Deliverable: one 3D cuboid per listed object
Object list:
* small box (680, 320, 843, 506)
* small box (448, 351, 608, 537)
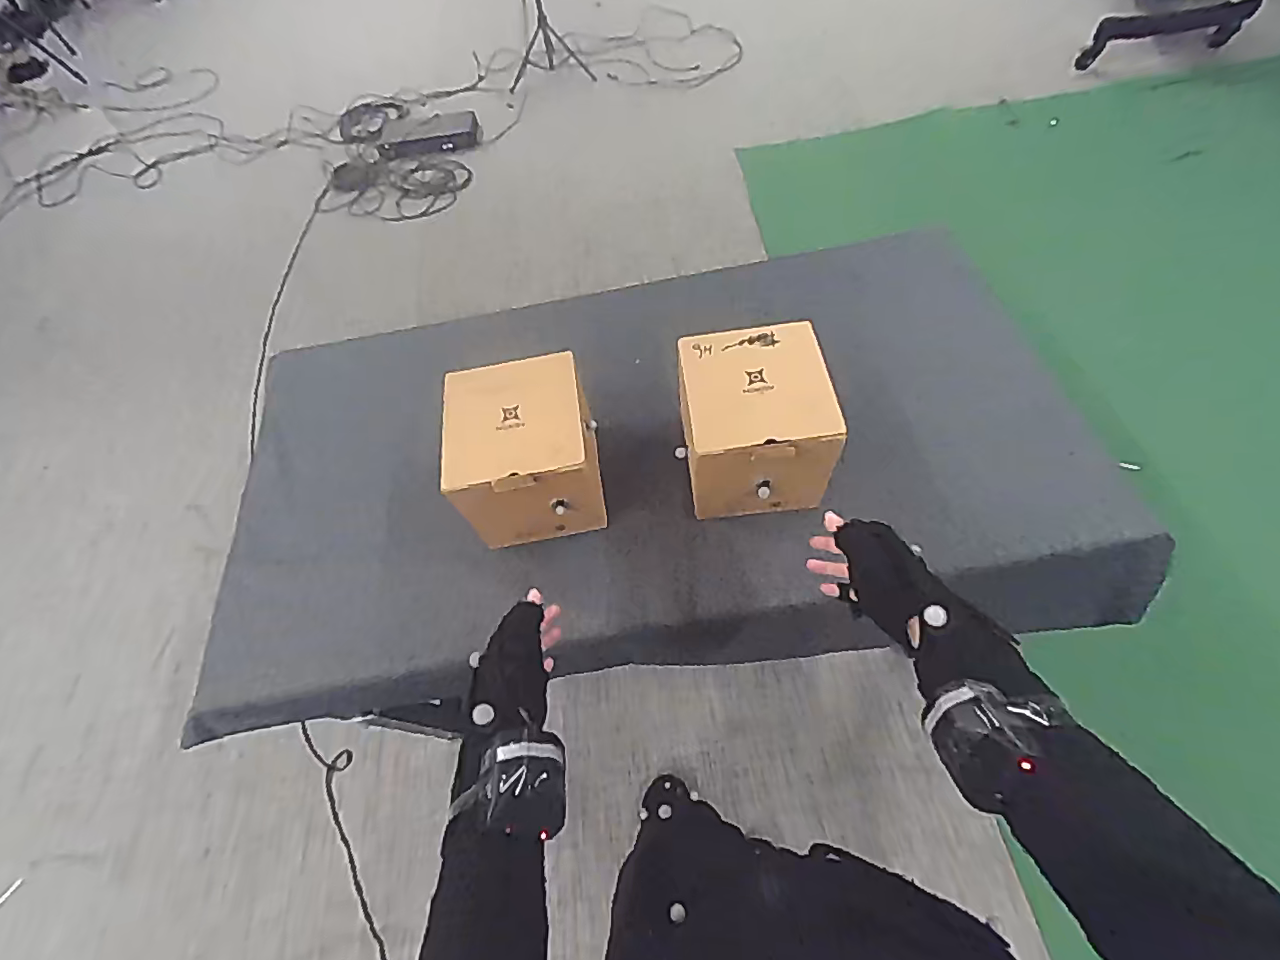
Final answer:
[{"bbox_3d":[0.144,-0.076,0.701,0.168,0.176,0.179,-6,61,2],"label":"small box"},{"bbox_3d":[-0.141,-0.037,0.716,0.168,0.176,0.179,-11,59,-1],"label":"small box"}]
